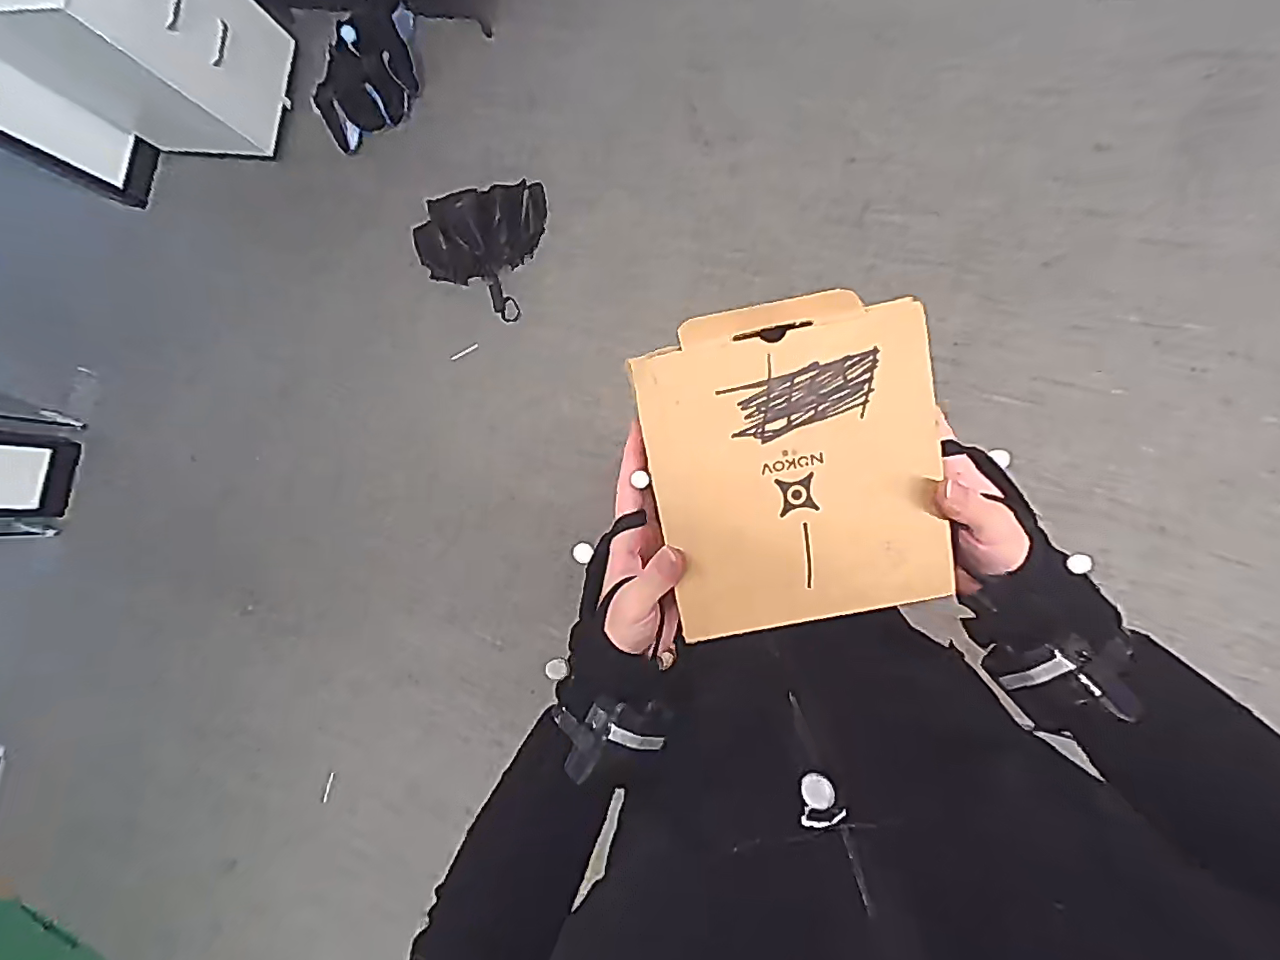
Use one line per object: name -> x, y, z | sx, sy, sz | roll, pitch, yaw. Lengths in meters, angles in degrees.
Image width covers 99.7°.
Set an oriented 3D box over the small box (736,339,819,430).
small box -> 0.341, -0.231, 1.336 | 0.168, 0.176, 0.179 | 10, 90, 17
